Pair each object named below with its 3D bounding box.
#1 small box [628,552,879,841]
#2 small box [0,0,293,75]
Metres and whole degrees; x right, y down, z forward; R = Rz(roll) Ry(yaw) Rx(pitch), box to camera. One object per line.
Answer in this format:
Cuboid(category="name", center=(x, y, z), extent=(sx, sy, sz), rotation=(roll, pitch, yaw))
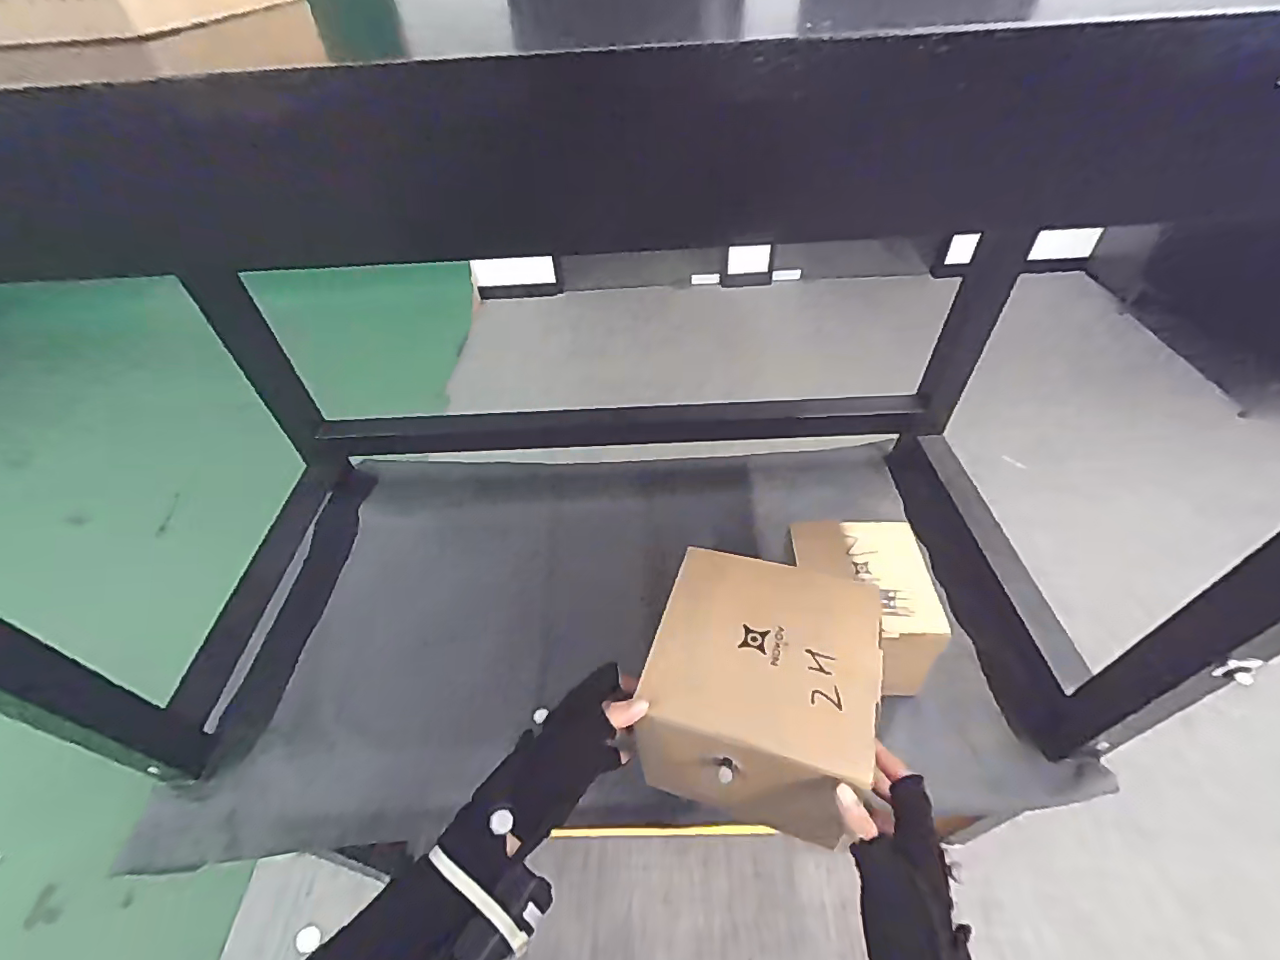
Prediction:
Cuboid(category="small box", center=(0.105, 0.194, 0.492), extent=(0.179, 0.176, 0.168), rotation=(10, 46, 18))
Cuboid(category="small box", center=(-0.293, -0.287, 0.231), extent=(0.168, 0.176, 0.179), rotation=(-3, 45, 0))
